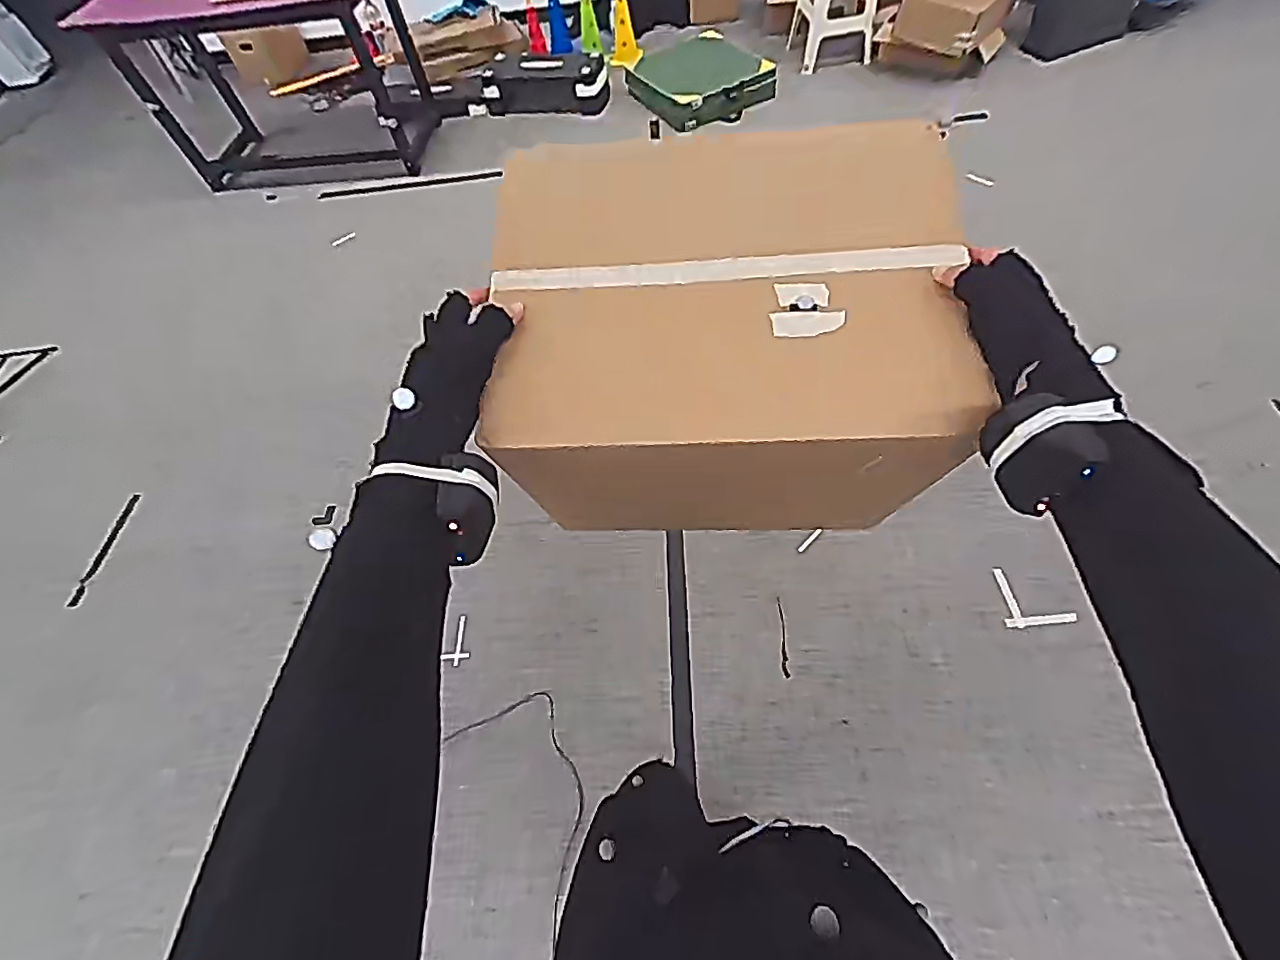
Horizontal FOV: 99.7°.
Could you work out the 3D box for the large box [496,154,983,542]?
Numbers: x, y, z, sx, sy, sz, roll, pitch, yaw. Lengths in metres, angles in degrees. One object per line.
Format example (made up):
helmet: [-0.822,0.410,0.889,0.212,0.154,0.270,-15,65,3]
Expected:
large box: [0.085,-0.114,0.627,0.408,0.320,0.320,-1,72,5]
